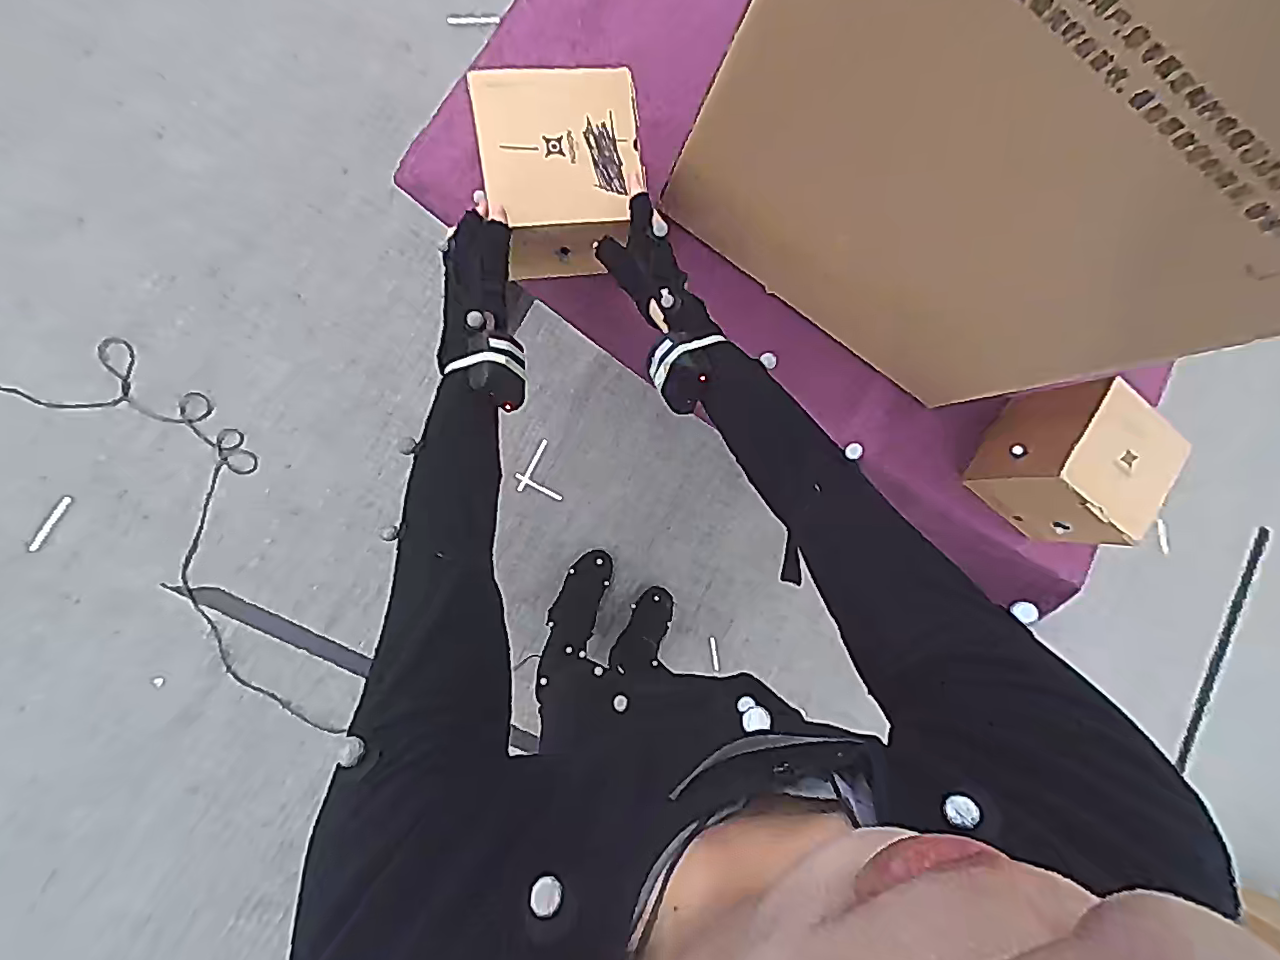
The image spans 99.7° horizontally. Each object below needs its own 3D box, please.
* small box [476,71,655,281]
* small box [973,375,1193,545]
[{"bbox_3d":[-0.092,-0.356,0.659,0.179,0.176,0.168,-9,92,-10],"label":"small box"},{"bbox_3d":[0.644,-0.024,0.808,0.168,0.176,0.179,37,80,-9],"label":"small box"}]
